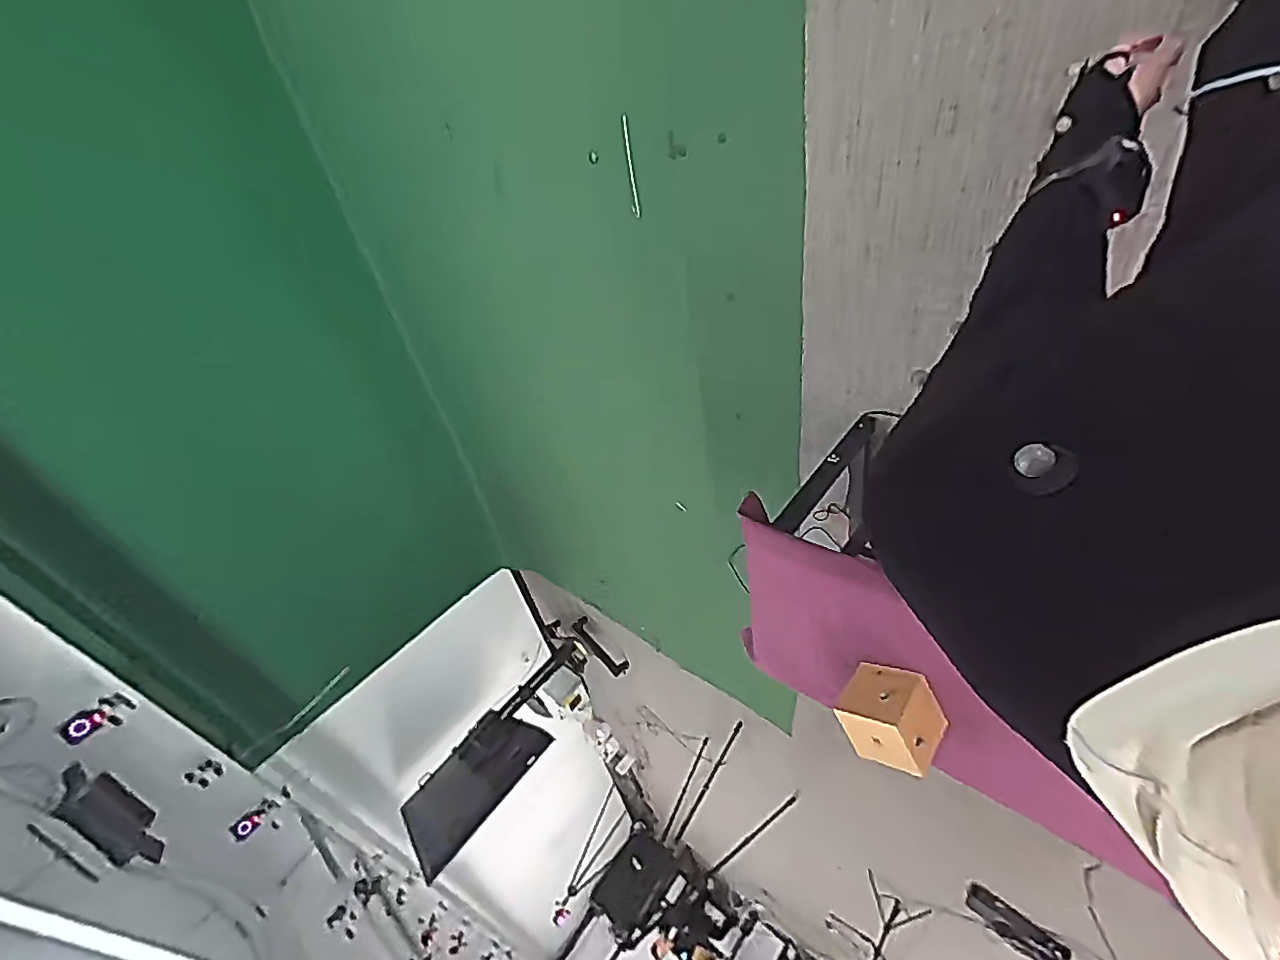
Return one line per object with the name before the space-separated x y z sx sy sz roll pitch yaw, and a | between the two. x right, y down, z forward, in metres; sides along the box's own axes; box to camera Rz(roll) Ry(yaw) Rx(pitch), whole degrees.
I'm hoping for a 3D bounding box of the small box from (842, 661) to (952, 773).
small box | 0.644 0.580 1.348 0.168 0.176 0.179 -10 117 54
